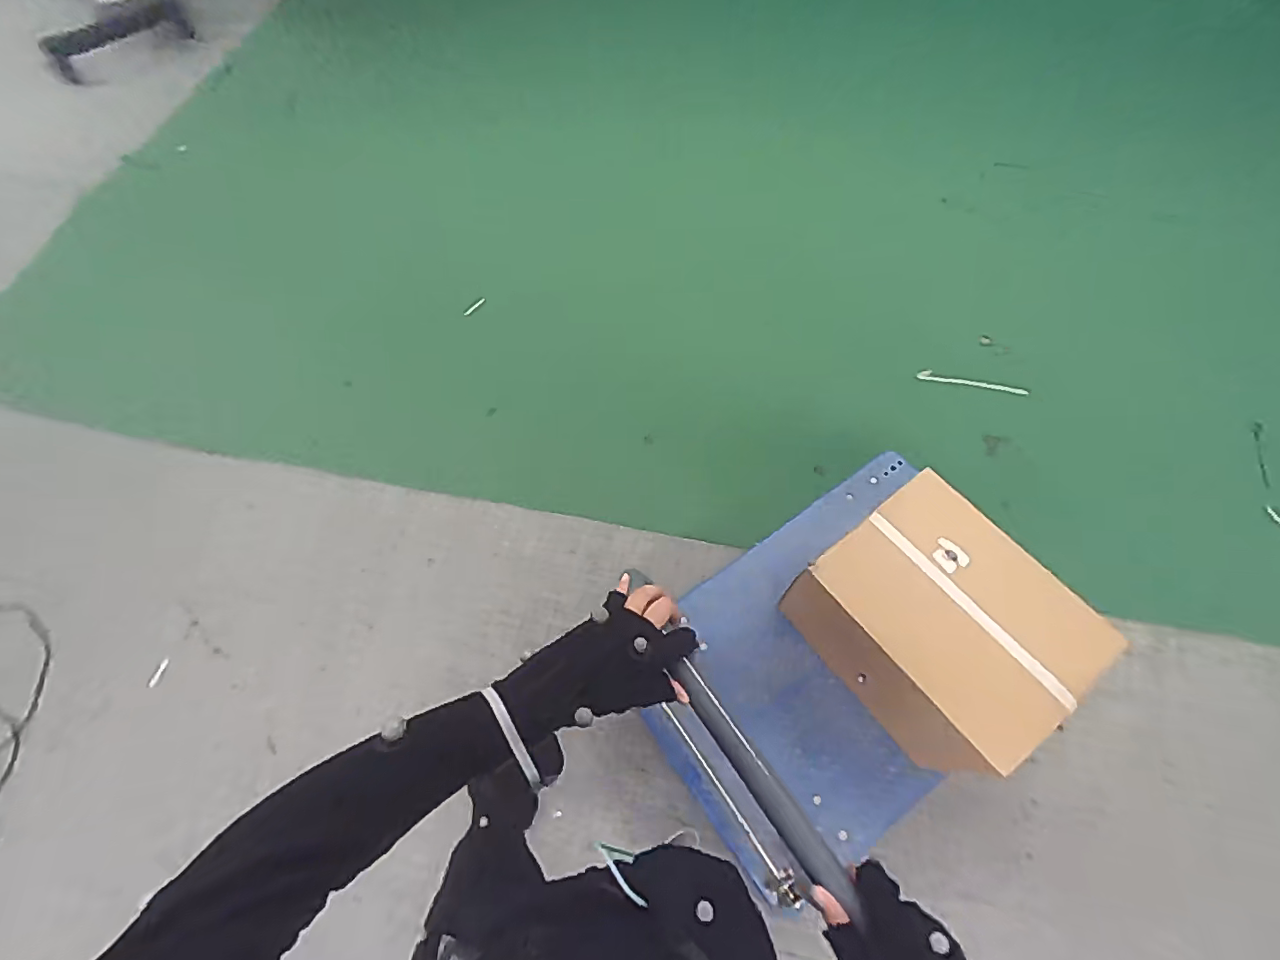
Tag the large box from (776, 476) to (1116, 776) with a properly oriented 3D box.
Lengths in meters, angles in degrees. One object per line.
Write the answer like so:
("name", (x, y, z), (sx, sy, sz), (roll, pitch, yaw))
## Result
("large box", (0.524, 0.277, 1.025), (0.320, 0.320, 0.408), (-35, 66, -13))
